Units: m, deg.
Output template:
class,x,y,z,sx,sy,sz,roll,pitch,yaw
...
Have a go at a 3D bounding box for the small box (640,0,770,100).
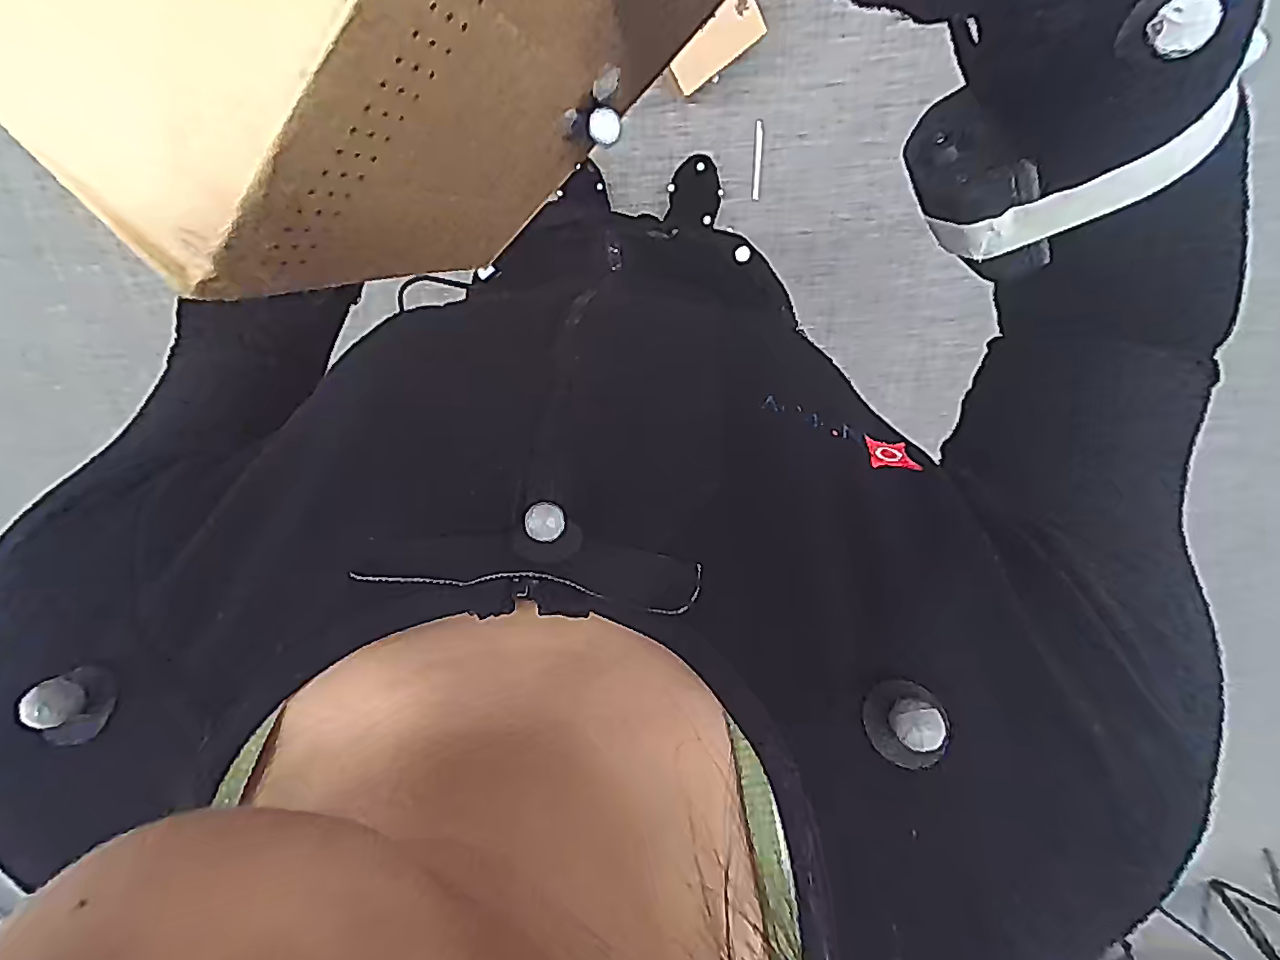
class,x,y,z,sx,sy,sz,roll,pitch,yaw
small box,0.117,-0.854,1.017,0.179,0.176,0.168,-32,116,18
